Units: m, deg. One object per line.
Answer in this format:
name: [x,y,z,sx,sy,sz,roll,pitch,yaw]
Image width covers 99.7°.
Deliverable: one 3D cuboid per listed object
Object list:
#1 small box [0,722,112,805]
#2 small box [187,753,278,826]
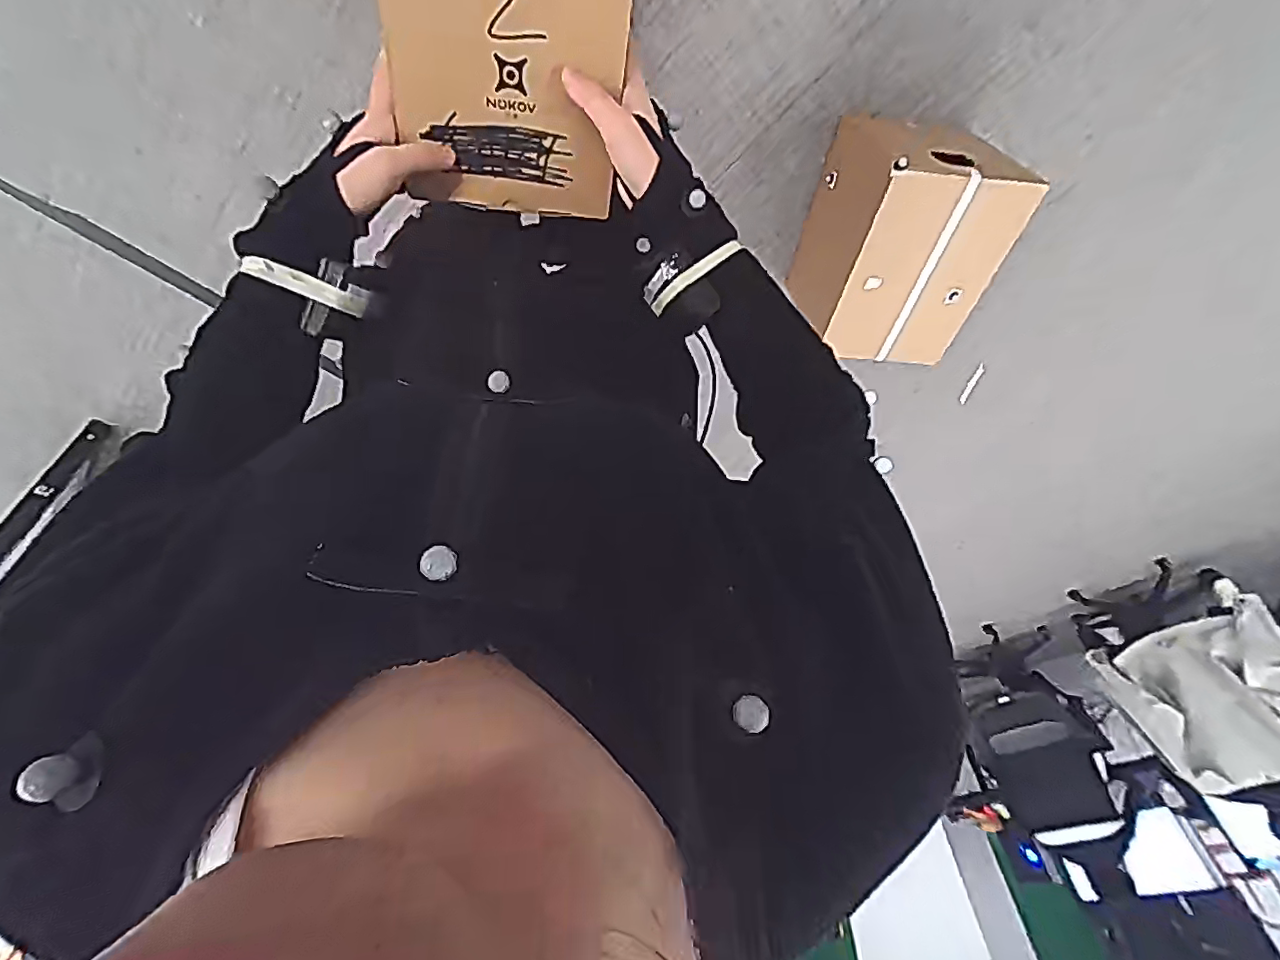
small box: [-1.632,0.796,1.504,0.179,0.176,0.168,-35,131,28]
small box: [-1.335,1.021,1.784,0.179,0.176,0.168,-35,130,27]
